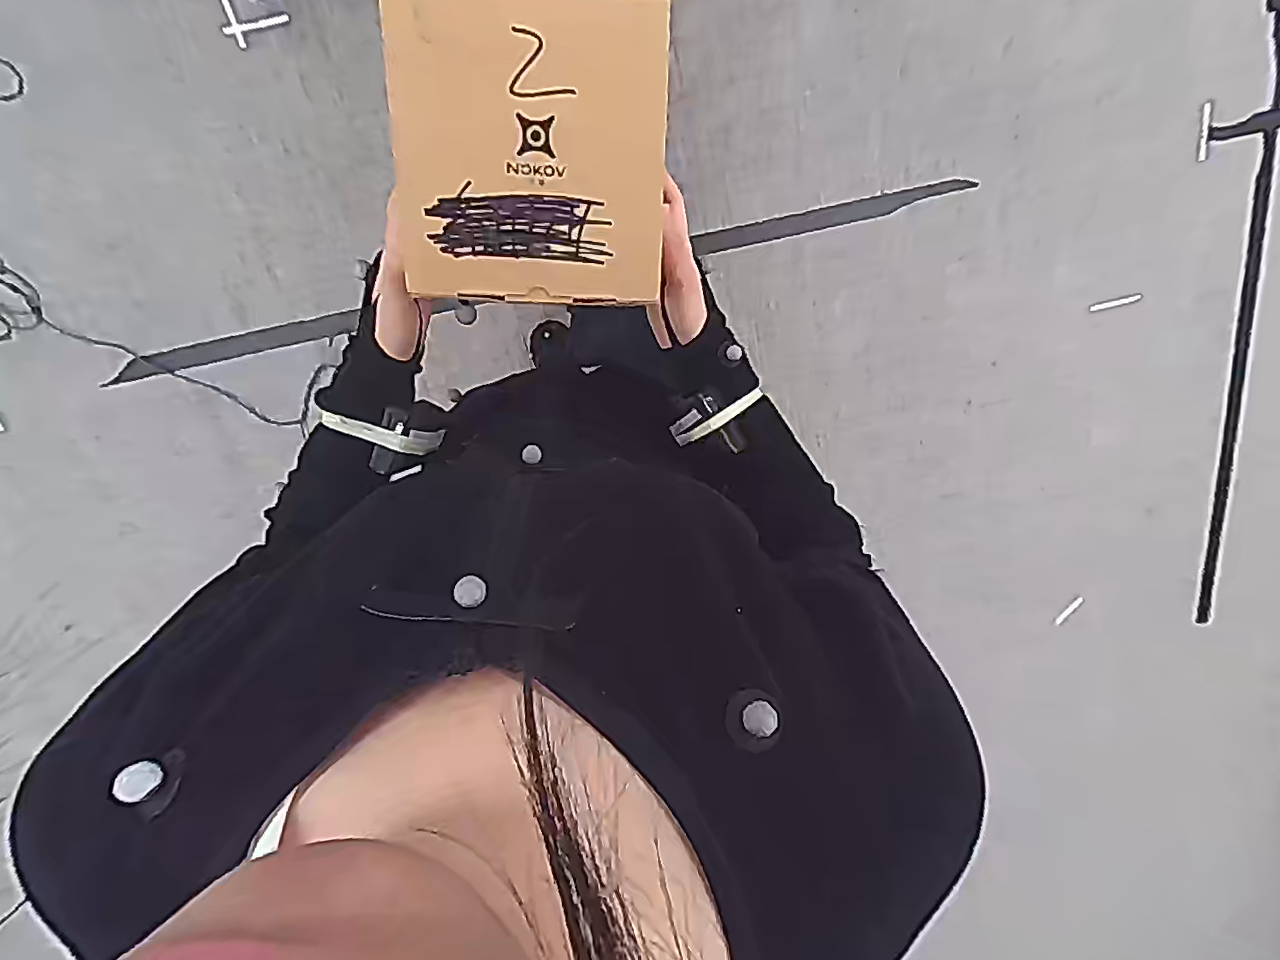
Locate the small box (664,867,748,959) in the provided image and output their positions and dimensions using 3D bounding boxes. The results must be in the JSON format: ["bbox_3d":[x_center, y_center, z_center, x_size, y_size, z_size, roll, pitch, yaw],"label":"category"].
[{"bbox_3d":[0.164,1.104,1.324,0.168,0.176,0.179,-14,107,-2],"label":"small box"}]

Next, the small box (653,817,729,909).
[{"bbox_3d":[0.143,1.066,1.481,0.179,0.176,0.168,-15,107,-1],"label":"small box"}]
